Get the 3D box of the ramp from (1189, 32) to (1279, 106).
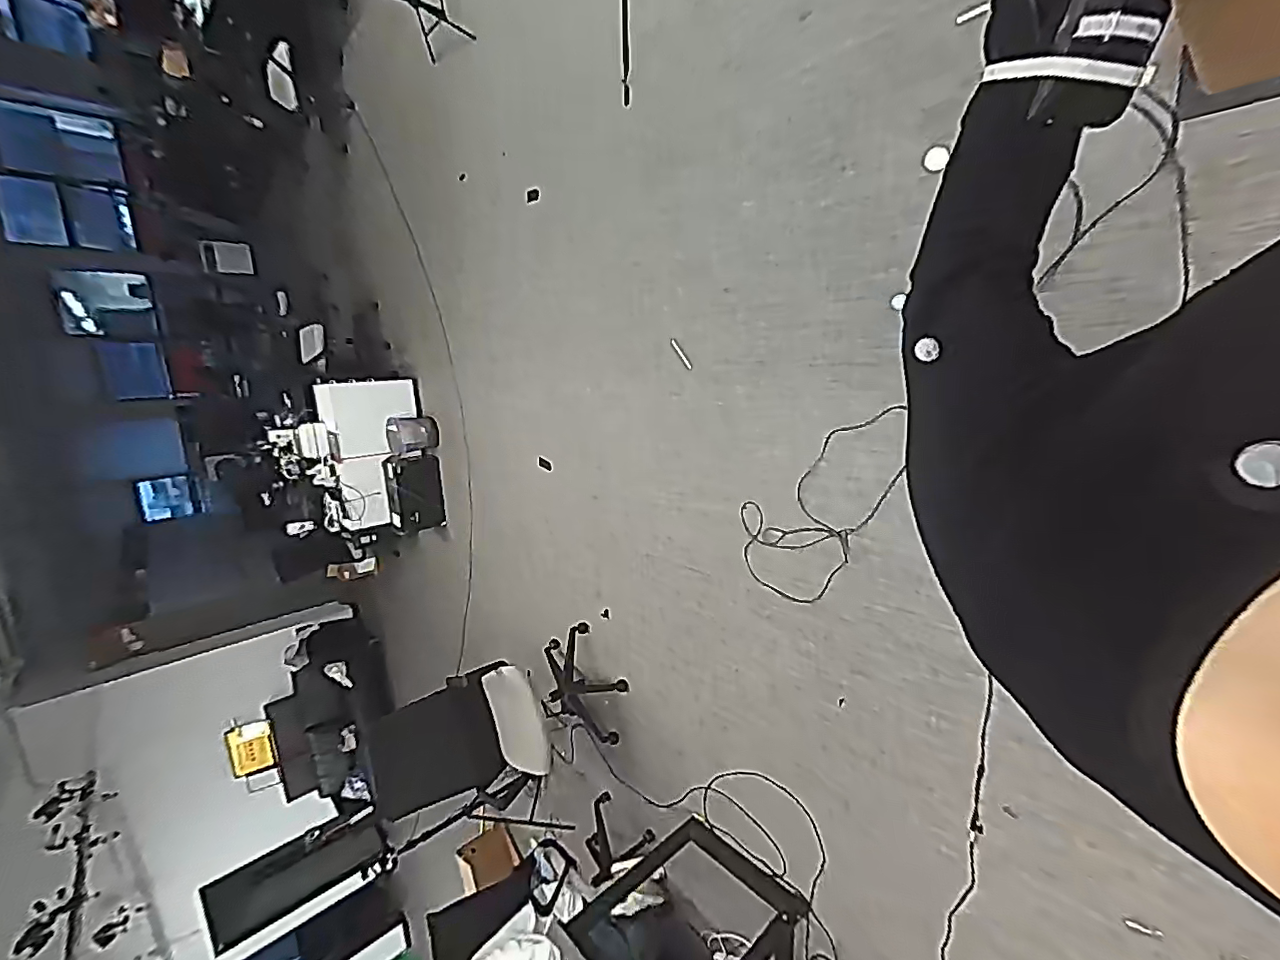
[{"bbox_3d":[1.089,-1.122,0.668,0.509,0.206,0.991,7,106,47],"label":"ramp"}]
